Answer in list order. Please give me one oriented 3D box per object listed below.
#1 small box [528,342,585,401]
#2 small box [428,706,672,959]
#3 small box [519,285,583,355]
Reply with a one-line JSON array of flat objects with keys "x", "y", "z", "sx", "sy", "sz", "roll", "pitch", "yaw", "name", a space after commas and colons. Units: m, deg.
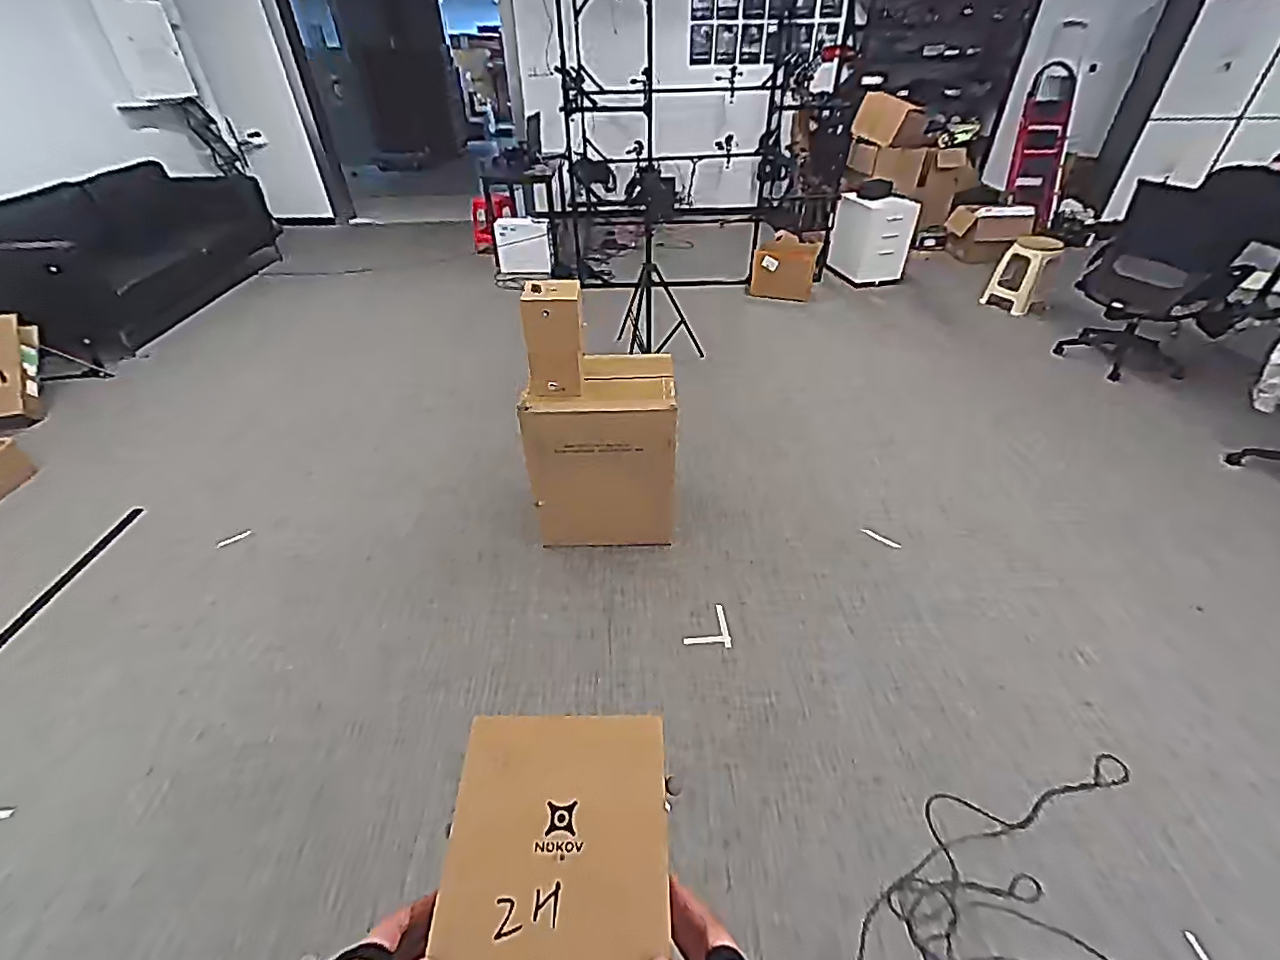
[{"x": -0.280, "y": -0.387, "z": 1.846, "sx": 0.168, "sy": 0.176, "sz": 0.179, "roll": -2, "pitch": 41, "yaw": 0, "name": "small box"}, {"x": -0.061, "y": 0.319, "z": 0.472, "sx": 0.168, "sy": 0.176, "sz": 0.179, "roll": 0, "pitch": 44, "yaw": -1, "name": "small box"}, {"x": -0.281, "y": -0.513, "z": 1.740, "sx": 0.179, "sy": 0.176, "sz": 0.168, "roll": -1, "pitch": 40, "yaw": -1, "name": "small box"}]
